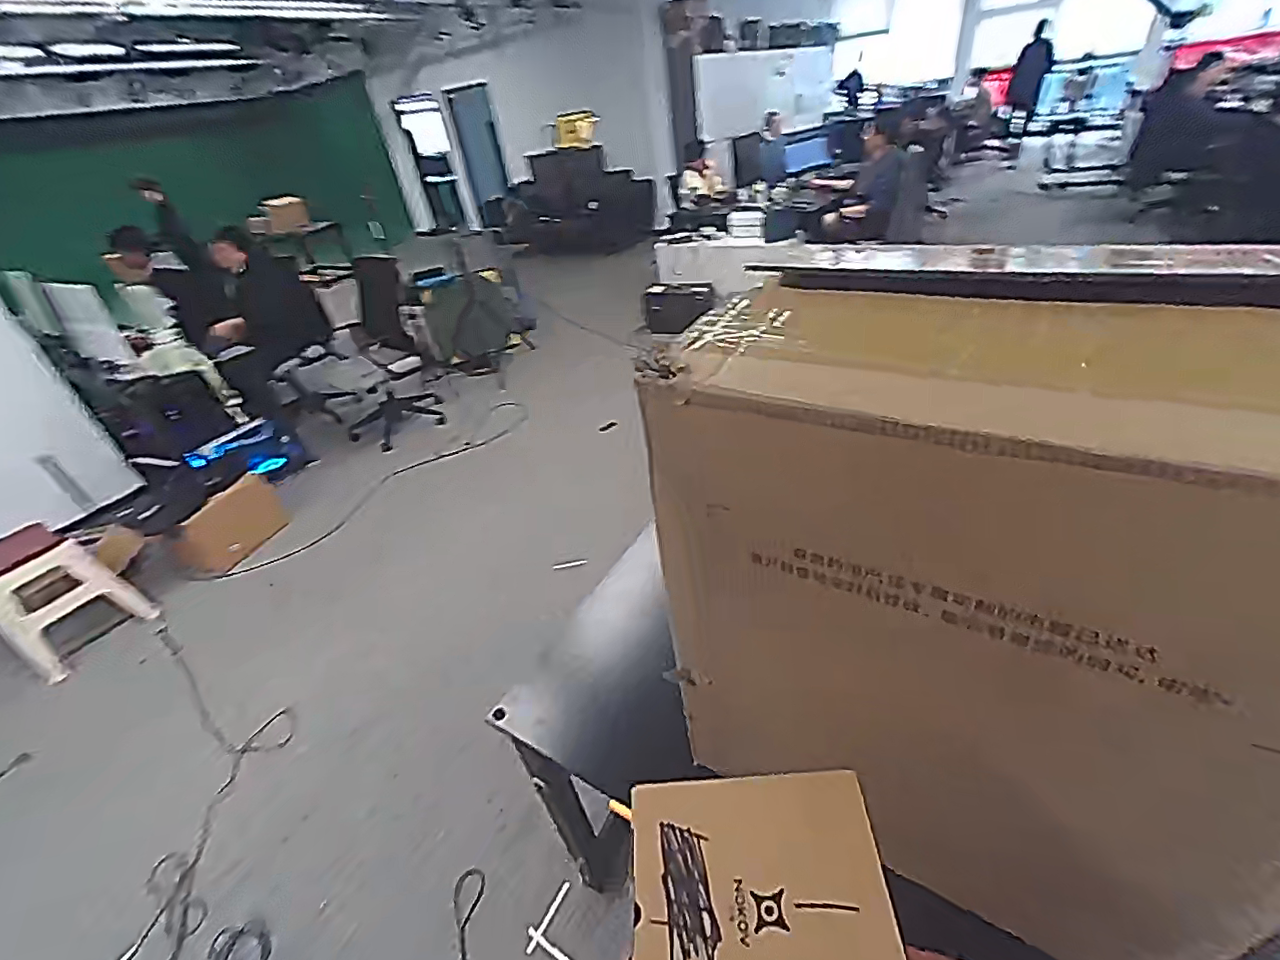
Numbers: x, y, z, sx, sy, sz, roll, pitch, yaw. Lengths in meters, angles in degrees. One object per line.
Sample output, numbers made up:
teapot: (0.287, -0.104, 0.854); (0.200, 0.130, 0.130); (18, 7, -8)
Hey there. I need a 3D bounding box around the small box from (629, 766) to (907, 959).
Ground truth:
small box: (0.095, 0.341, 0.414); (0.179, 0.176, 0.168); (-8, 41, 9)
